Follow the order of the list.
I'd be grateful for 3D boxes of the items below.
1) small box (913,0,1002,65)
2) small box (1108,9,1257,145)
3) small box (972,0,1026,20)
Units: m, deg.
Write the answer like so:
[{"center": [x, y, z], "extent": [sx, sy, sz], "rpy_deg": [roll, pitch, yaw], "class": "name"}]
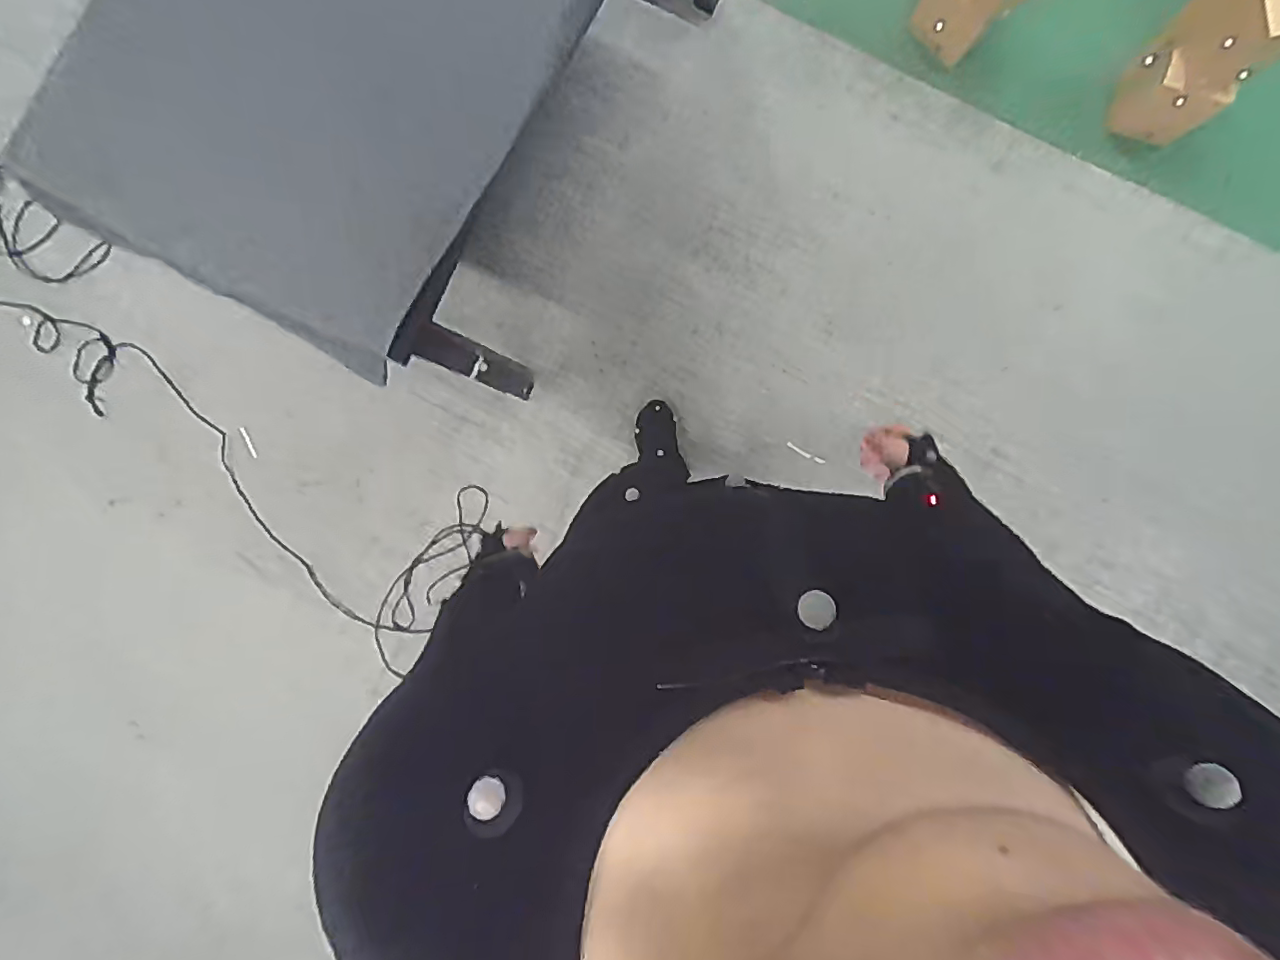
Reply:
[{"center": [0.796, -1.171, 1.308], "extent": [0.168, 0.176, 0.179], "rpy_deg": [43, 93, -1], "class": "small box"}, {"center": [1.287, -0.956, 1.297], "extent": [0.168, 0.176, 0.179], "rpy_deg": [18, 92, 1], "class": "small box"}, {"center": [0.815, -1.144, 1.146], "extent": [0.179, 0.176, 0.168], "rpy_deg": [-26, 93, 3], "class": "small box"}]
